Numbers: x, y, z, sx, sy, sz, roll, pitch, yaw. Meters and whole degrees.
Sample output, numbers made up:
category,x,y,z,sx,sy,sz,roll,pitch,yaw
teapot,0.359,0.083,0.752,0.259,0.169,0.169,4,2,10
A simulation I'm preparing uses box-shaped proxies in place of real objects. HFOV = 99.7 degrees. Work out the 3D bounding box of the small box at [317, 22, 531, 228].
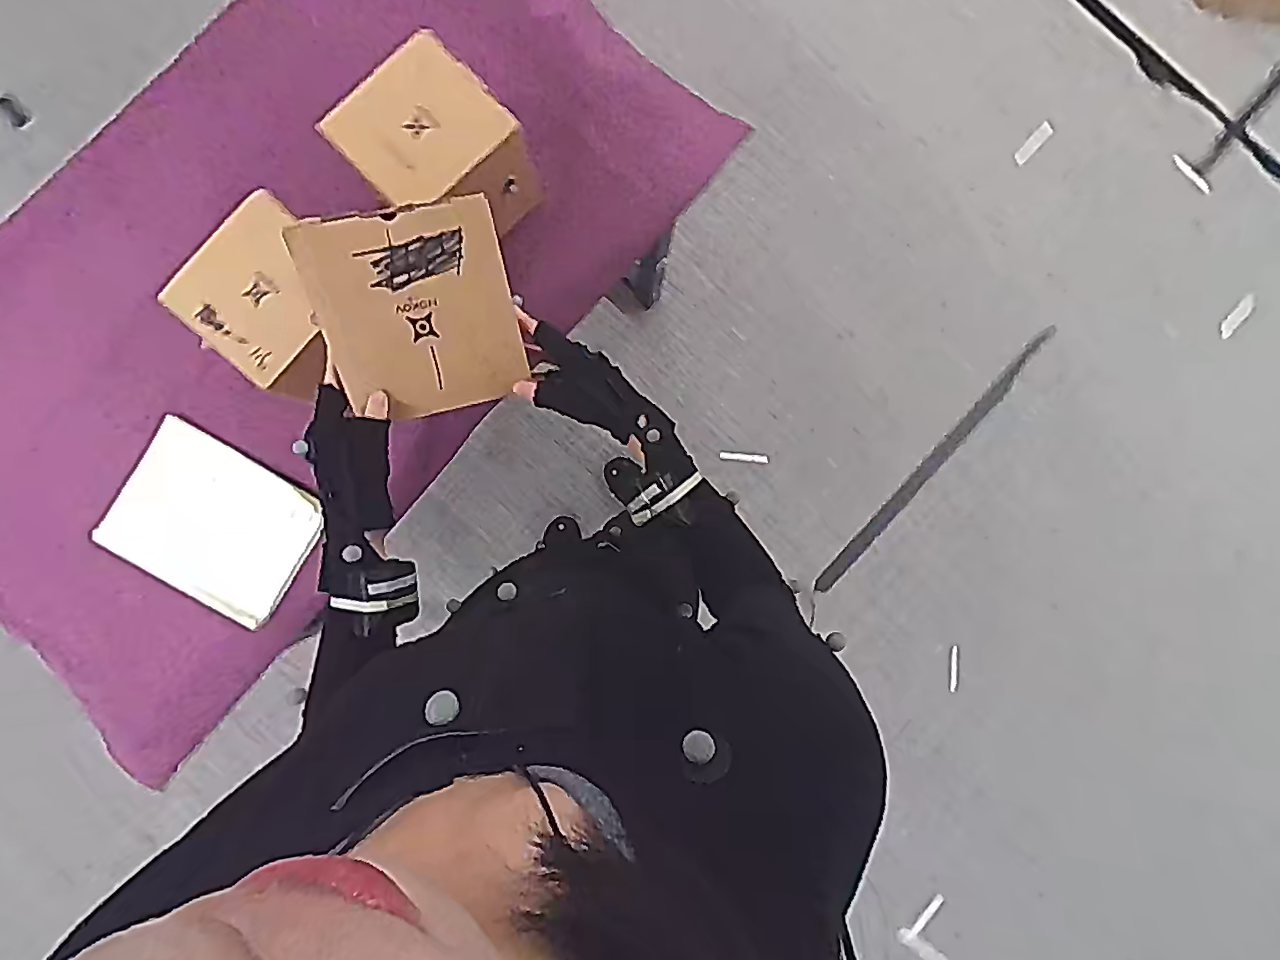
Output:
category,x,y,z,sx,sy,sz,roll,pitch,yaw
small box,-0.261,-0.418,0.708,0.179,0.176,0.168,-44,89,-1

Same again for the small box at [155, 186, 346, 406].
category,x,y,z,sx,sy,sz,roll,pitch,yaw
small box,-0.437,-0.219,0.696,0.168,0.176,0.179,42,87,0

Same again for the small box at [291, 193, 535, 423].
category,x,y,z,sx,sy,sz,roll,pitch,yaw
small box,-0.212,-0.173,0.541,0.168,0.176,0.179,-13,114,-13
